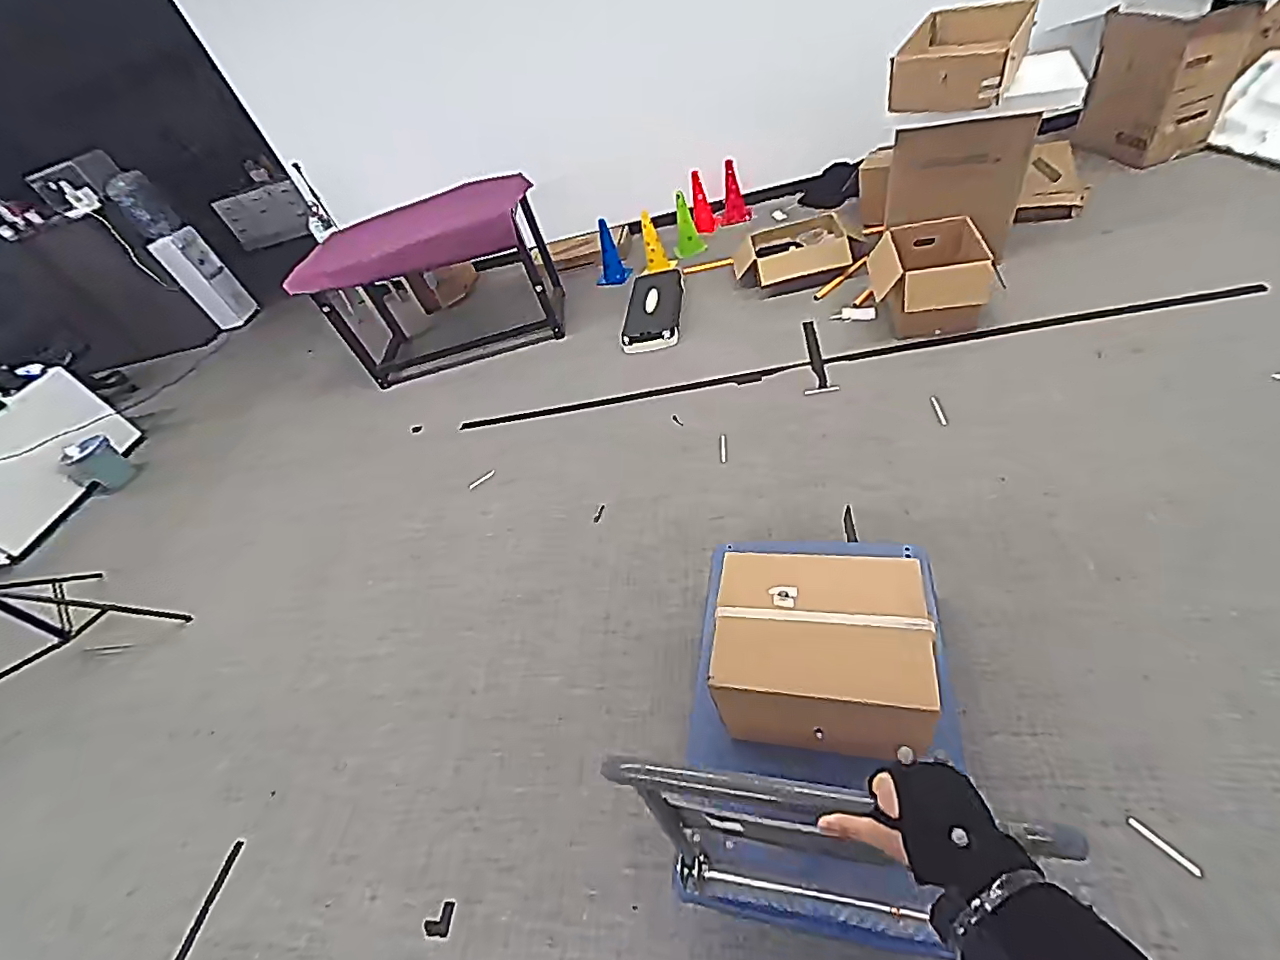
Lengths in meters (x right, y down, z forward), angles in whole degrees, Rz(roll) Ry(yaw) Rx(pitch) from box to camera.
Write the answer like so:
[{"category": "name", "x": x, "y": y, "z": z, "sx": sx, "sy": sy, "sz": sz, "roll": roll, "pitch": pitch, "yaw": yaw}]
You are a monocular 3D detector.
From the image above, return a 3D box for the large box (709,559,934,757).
[{"category": "large box", "x": 0.392, "y": 0.387, "z": 1.198, "sx": 0.408, "sy": 0.320, "sz": 0.320, "roll": -2, "pitch": 46, "yaw": 20}]
